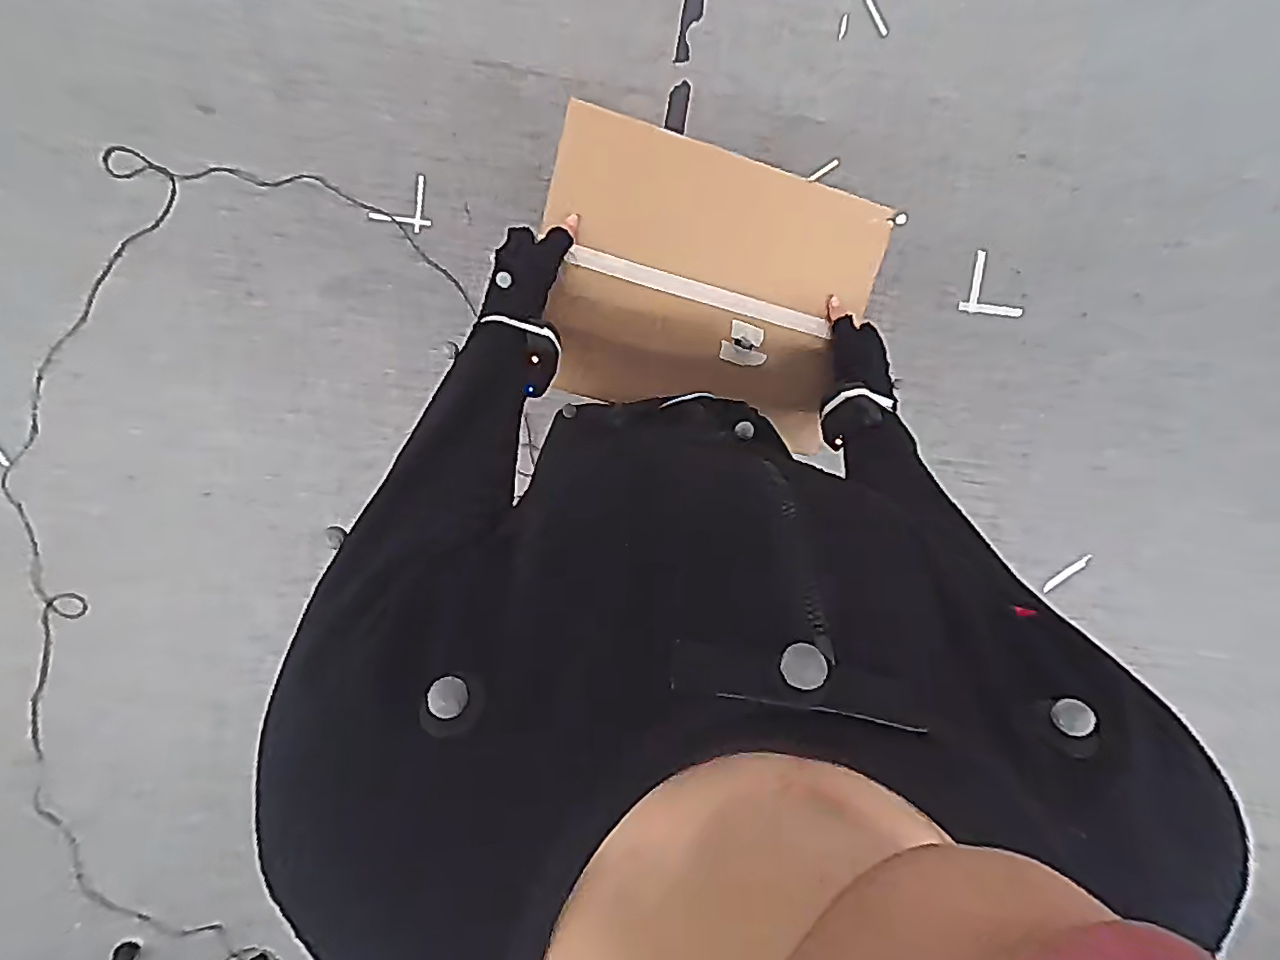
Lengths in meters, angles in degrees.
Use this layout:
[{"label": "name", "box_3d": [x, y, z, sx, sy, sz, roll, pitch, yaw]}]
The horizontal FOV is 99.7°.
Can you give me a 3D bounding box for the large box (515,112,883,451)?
[{"label": "large box", "box_3d": [0.056, -0.258, 0.808, 0.408, 0.320, 0.320, 15, 101, -9]}]
